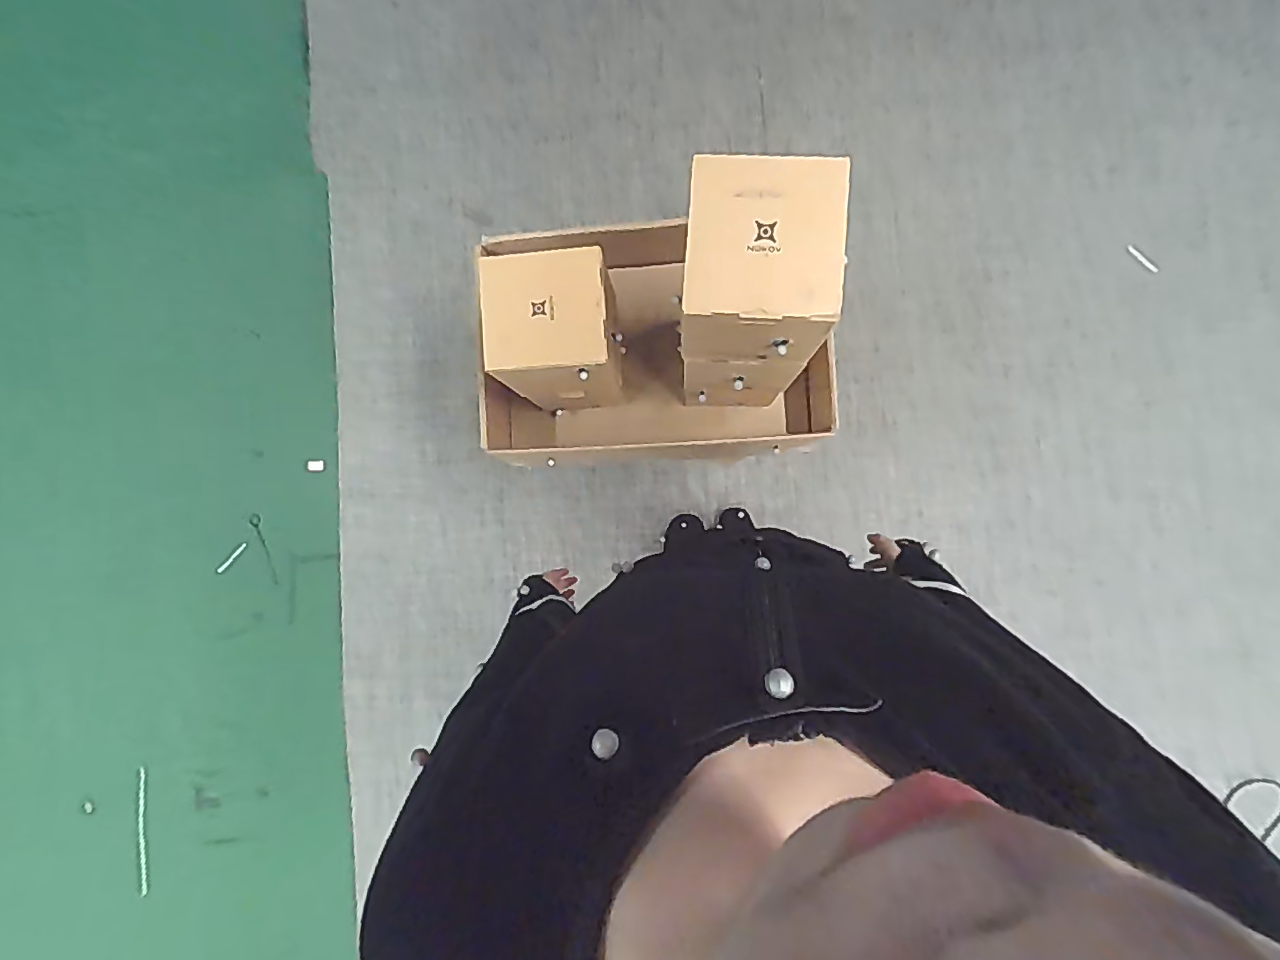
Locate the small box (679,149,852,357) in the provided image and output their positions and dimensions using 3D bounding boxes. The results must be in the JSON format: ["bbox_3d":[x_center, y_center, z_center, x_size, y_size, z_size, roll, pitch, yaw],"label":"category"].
[{"bbox_3d":[0.138,-0.254,0.642,0.168,0.176,0.179,5,87,5],"label":"small box"}]

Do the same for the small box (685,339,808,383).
[{"bbox_3d":[0.156,-0.246,0.805,0.168,0.176,0.179,3,89,6],"label":"small box"}]

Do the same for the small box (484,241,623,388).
[{"bbox_3d":[-0.125,-0.243,0.834,0.179,0.176,0.168,-4,87,4],"label":"small box"}]
